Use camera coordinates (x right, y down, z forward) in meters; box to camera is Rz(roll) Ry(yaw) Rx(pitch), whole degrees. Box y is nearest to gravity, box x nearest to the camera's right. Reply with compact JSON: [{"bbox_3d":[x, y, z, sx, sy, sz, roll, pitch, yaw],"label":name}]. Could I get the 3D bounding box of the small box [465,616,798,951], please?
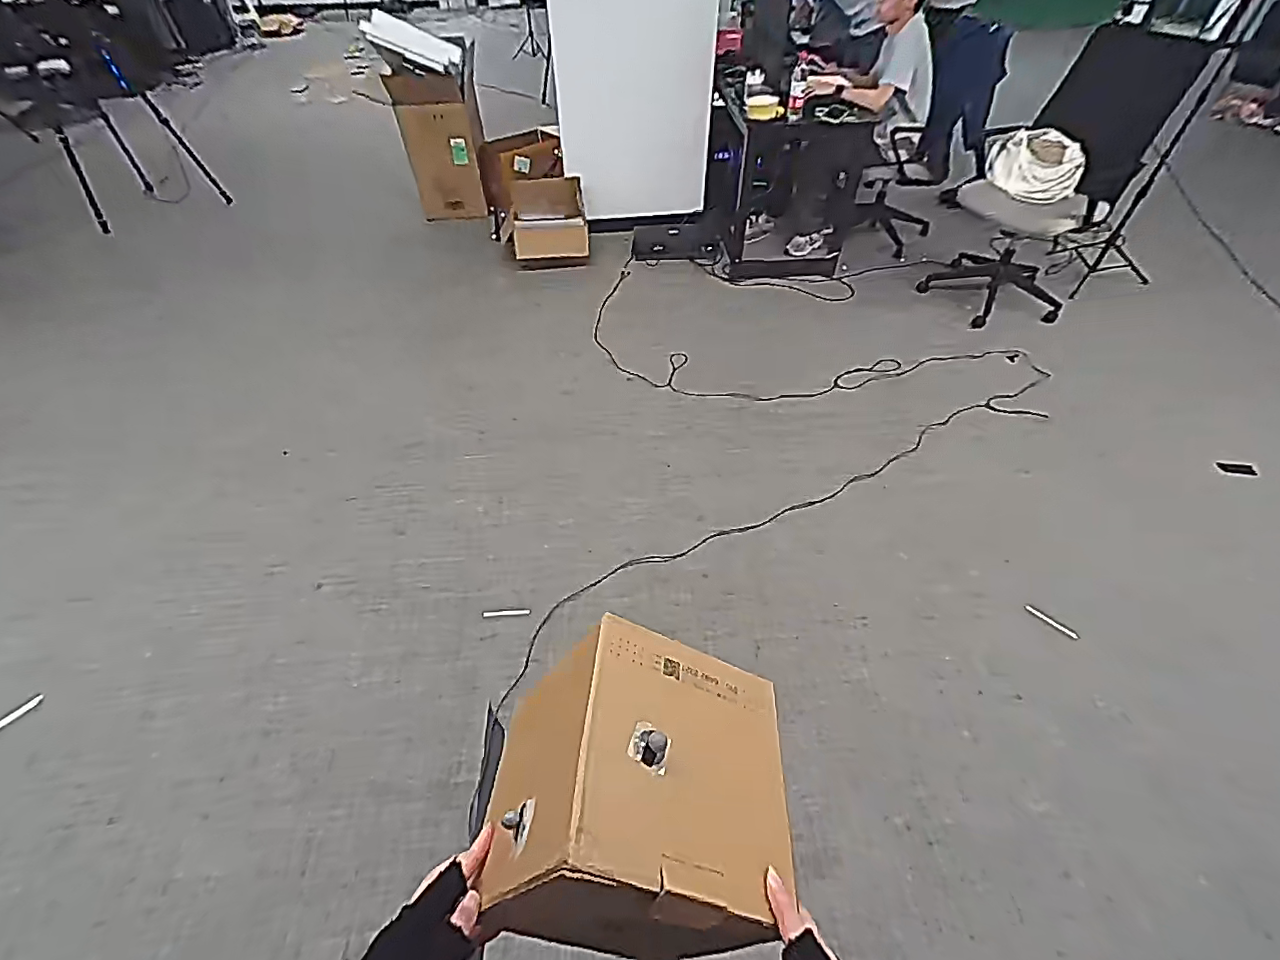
[{"bbox_3d":[-0.008,0.236,0.423,0.168,0.179,0.176,29,37,-17],"label":"small box"}]
